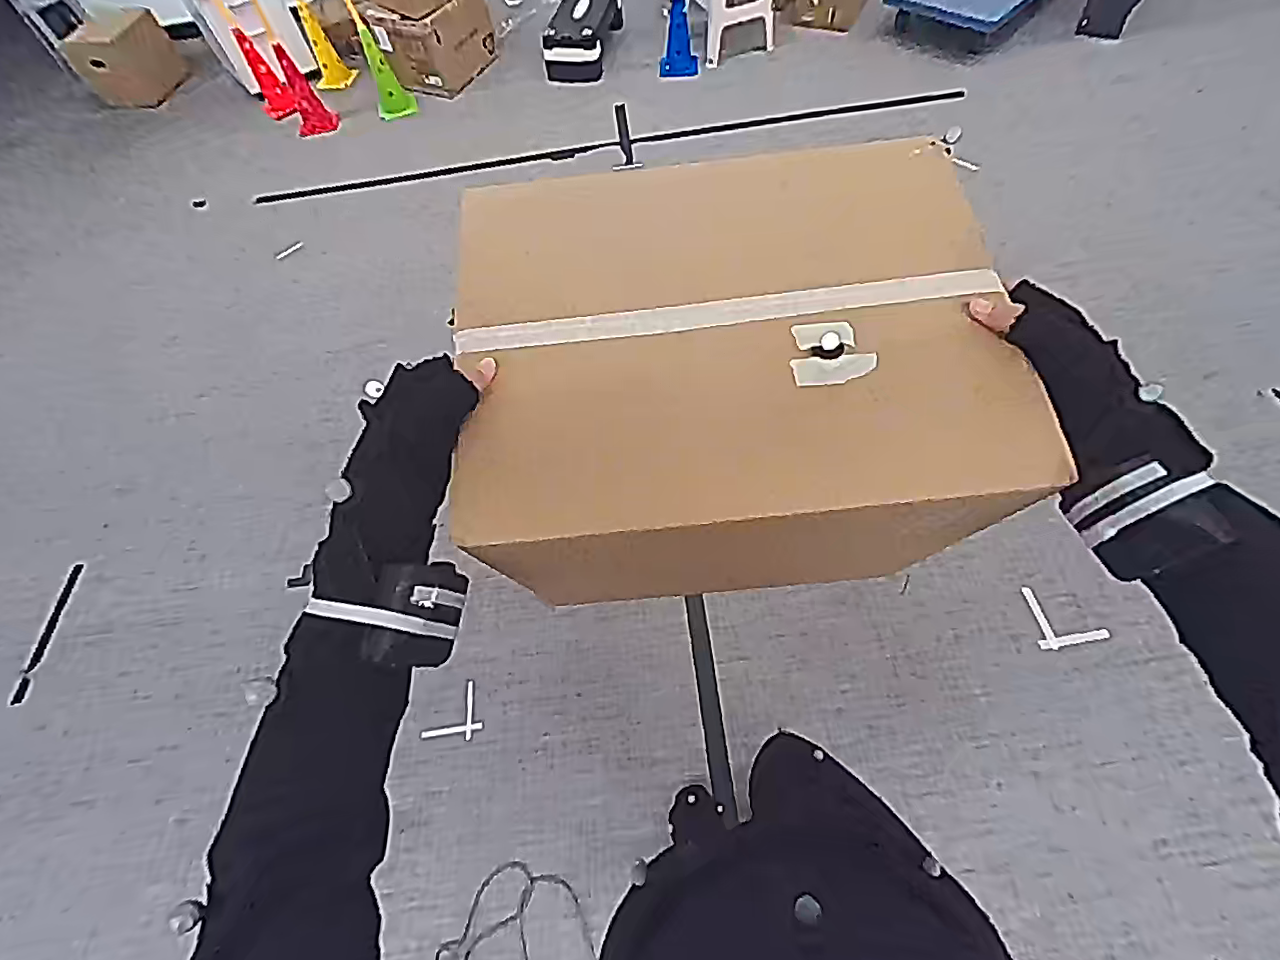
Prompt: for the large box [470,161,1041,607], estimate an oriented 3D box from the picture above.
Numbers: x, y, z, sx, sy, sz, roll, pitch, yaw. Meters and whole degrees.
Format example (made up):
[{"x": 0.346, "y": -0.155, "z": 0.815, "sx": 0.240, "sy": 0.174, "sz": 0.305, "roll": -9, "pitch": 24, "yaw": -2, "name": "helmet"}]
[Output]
[{"x": 0.070, "y": -0.064, "z": 0.562, "sx": 0.408, "sy": 0.320, "sz": 0.320, "roll": -6, "pitch": 69, "yaw": 1, "name": "large box"}]
